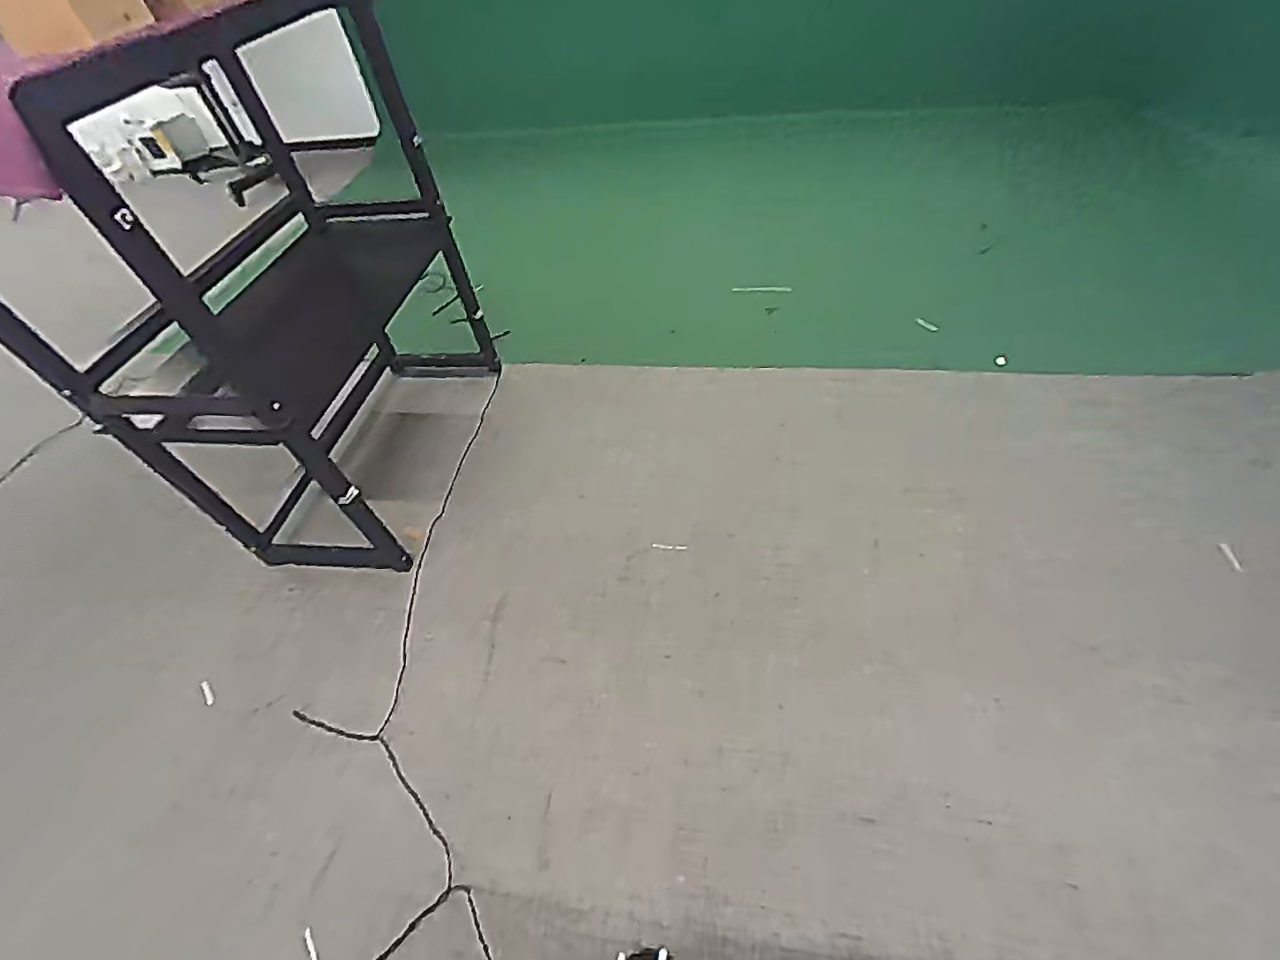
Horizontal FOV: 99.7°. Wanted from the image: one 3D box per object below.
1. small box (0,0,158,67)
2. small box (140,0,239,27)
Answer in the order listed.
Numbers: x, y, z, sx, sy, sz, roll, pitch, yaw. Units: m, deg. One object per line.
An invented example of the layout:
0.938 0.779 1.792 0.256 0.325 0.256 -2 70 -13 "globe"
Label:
-1.047 -0.876 0.976 0.179 0.176 0.168 0 50 10 "small box"
-1.014 -1.086 1.149 0.168 0.176 0.179 2 50 10 "small box"
